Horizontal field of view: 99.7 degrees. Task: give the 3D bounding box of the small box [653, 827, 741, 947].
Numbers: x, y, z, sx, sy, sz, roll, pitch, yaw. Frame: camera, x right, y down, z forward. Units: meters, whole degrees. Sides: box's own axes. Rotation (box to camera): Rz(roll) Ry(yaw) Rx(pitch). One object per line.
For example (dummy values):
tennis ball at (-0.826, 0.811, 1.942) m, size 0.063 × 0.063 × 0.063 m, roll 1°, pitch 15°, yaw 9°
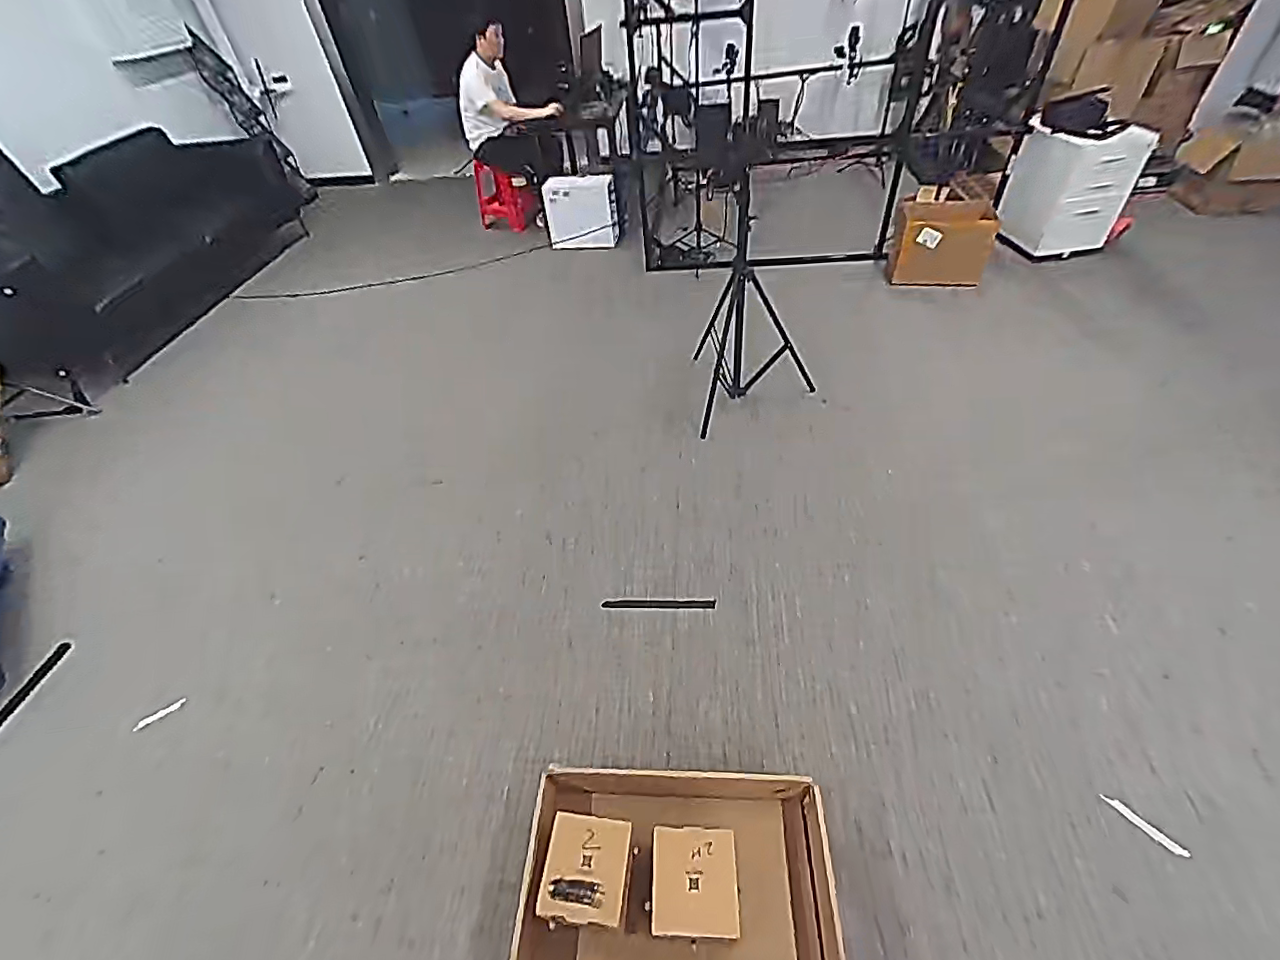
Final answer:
small box at (0.118, 0.834, 1.106) m, size 0.168 × 0.176 × 0.179 m, roll -2°, pitch 45°, yaw 5°
